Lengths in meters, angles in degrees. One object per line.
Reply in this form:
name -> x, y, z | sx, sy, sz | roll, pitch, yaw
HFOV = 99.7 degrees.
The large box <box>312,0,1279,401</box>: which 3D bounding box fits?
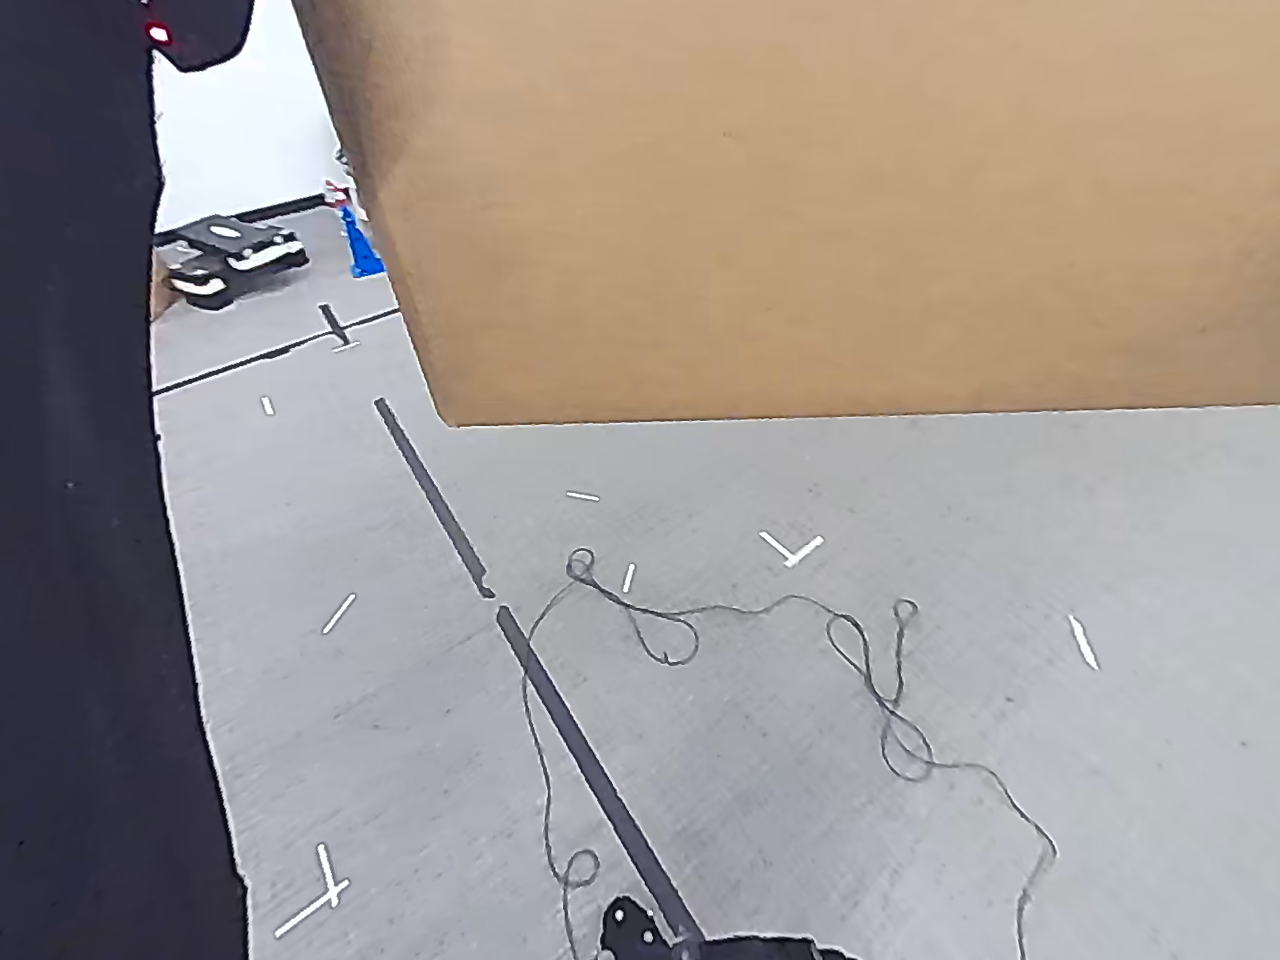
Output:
large box -> 0.092, -0.253, 0.268 | 0.408, 0.320, 0.320 | -1, 43, 0
